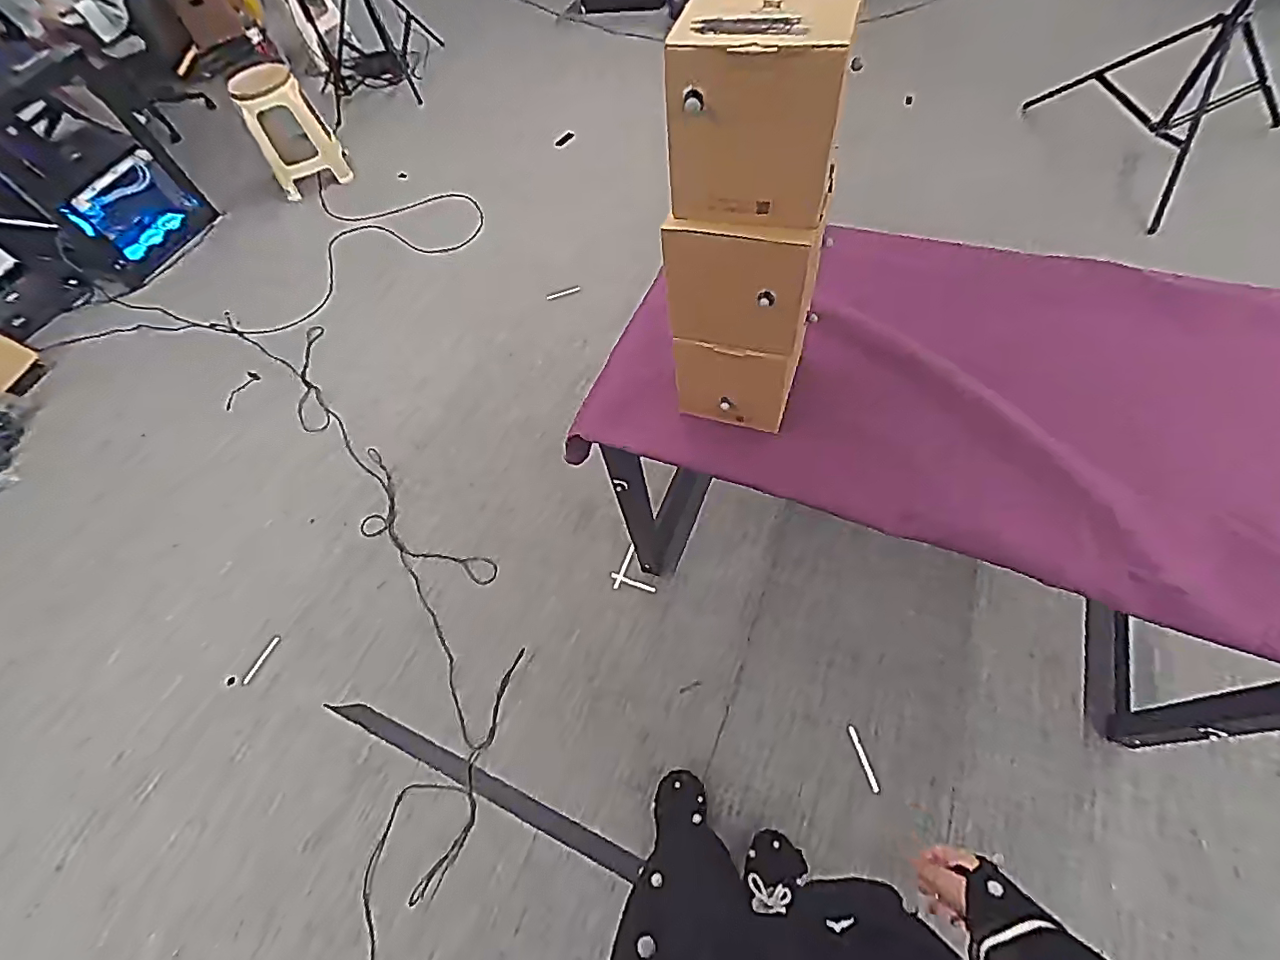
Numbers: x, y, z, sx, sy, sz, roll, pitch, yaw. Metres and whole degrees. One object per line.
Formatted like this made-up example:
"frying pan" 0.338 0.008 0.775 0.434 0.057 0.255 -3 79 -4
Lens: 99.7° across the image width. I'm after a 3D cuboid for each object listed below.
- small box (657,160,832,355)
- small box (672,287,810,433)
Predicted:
"small box" 0.136 -0.288 0.713 0.179 0.176 0.168 13 60 16
"small box" 0.156 -0.204 0.850 0.168 0.176 0.179 15 63 16
